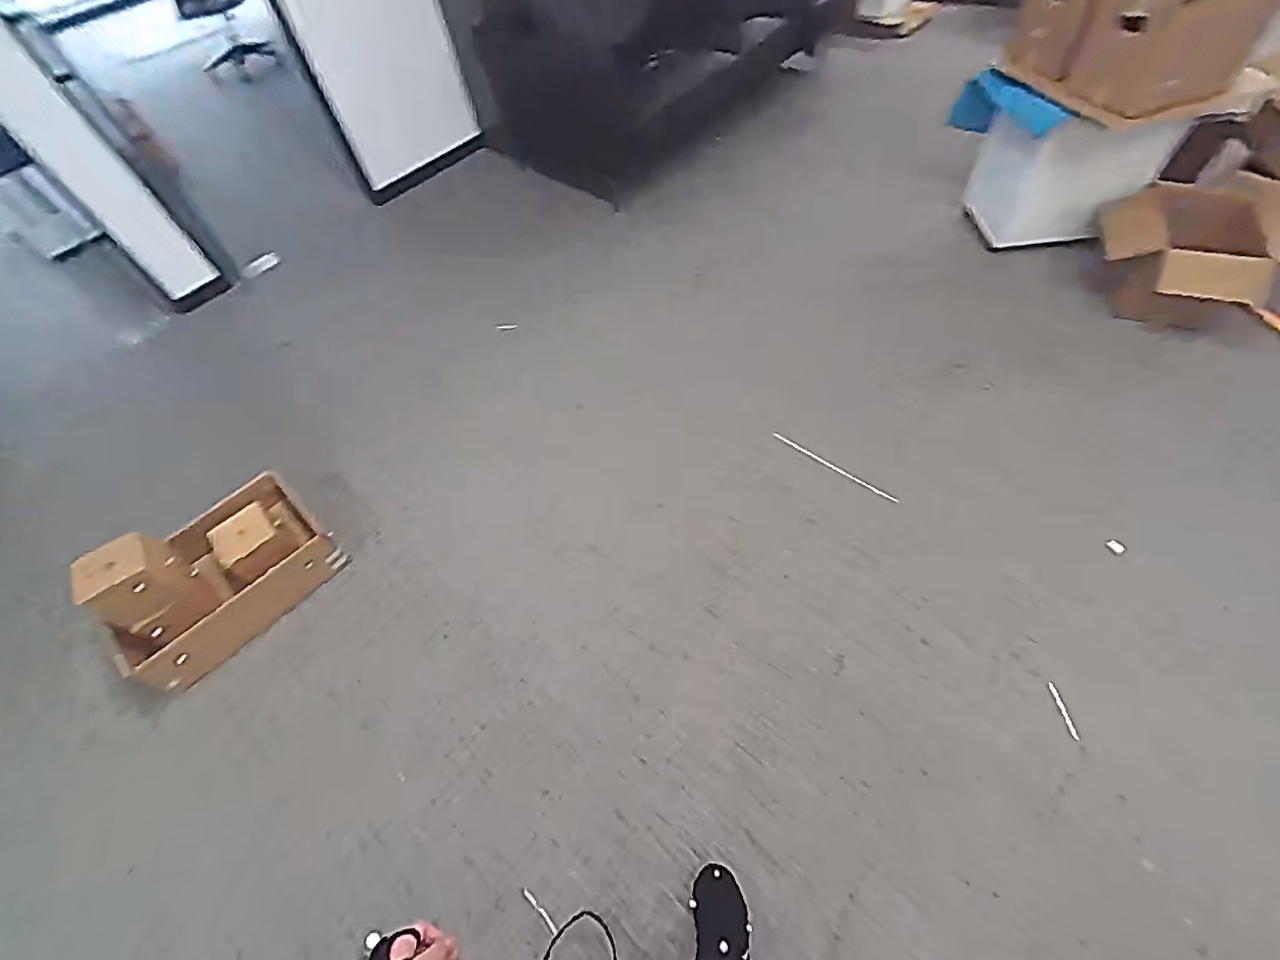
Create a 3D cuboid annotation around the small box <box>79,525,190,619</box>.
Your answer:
[{"bbox_3d":[-1.449,0.267,1.563,0.179,0.176,0.168,-33,58,-16],"label":"small box"}]
